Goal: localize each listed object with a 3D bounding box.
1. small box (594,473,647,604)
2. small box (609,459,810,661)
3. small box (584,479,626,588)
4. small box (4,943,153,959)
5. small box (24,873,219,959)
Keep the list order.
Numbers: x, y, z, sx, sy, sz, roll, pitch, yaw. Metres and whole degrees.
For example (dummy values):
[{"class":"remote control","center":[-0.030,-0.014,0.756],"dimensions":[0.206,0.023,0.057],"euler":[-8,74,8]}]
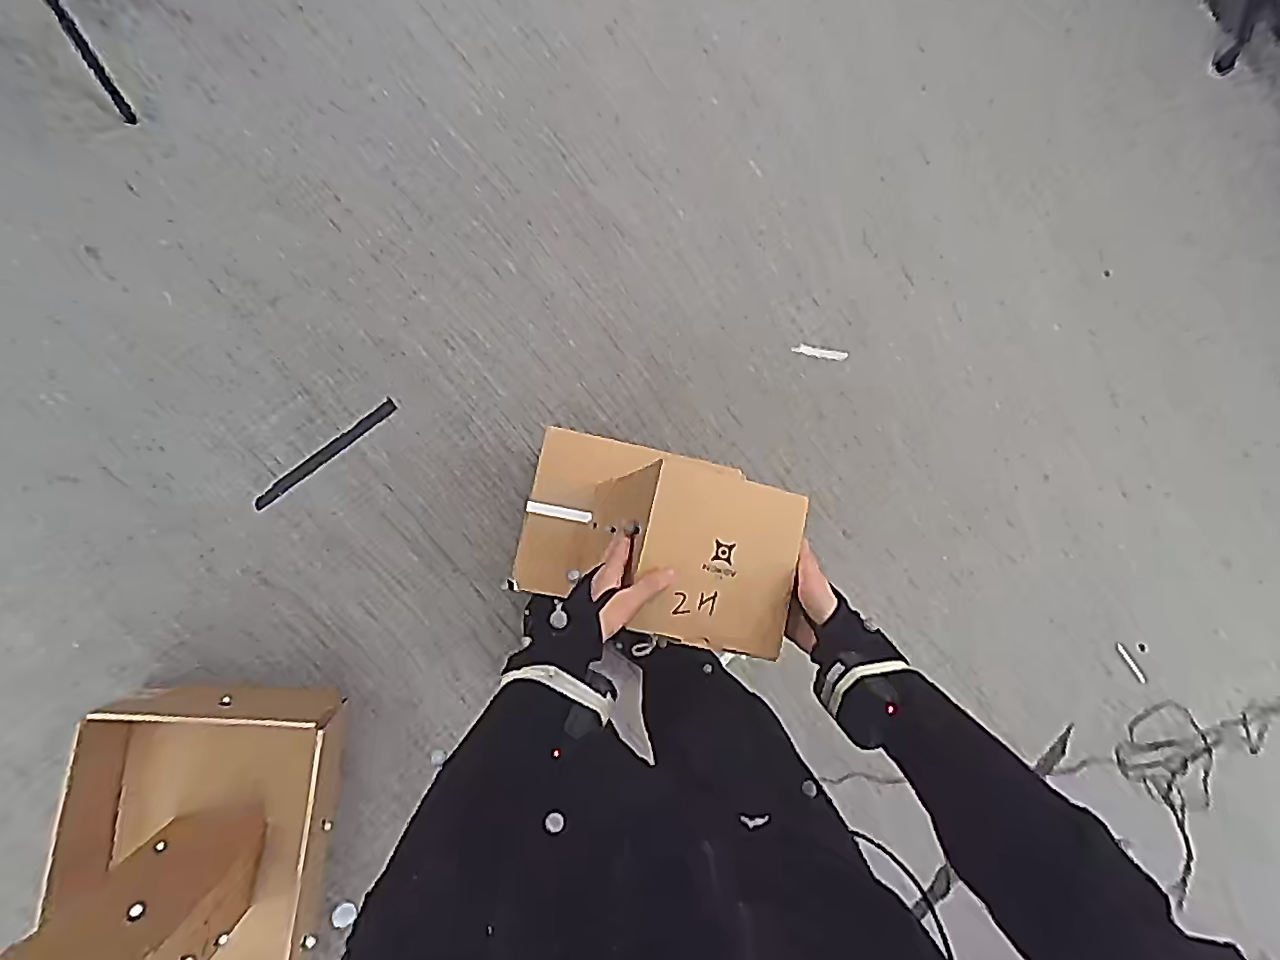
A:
[{"class":"small box","center":[0.036,0.100,0.787],"dimensions":[0.168,0.176,0.179],"euler":[16,84,-10]},{"class":"small box","center":[0.068,0.088,0.626],"dimensions":[0.168,0.176,0.179],"euler":[15,83,-9]},{"class":"small box","center":[0.002,0.106,0.946],"dimensions":[0.168,0.176,0.179],"euler":[13,83,-11]},{"class":"small box","center":[-0.780,0.727,0.676],"dimensions":[0.179,0.176,0.168],"euler":[11,83,-10]},{"class":"small box","center":[-0.804,0.747,0.836],"dimensions":[0.179,0.176,0.168],"euler":[12,83,-10]}]
